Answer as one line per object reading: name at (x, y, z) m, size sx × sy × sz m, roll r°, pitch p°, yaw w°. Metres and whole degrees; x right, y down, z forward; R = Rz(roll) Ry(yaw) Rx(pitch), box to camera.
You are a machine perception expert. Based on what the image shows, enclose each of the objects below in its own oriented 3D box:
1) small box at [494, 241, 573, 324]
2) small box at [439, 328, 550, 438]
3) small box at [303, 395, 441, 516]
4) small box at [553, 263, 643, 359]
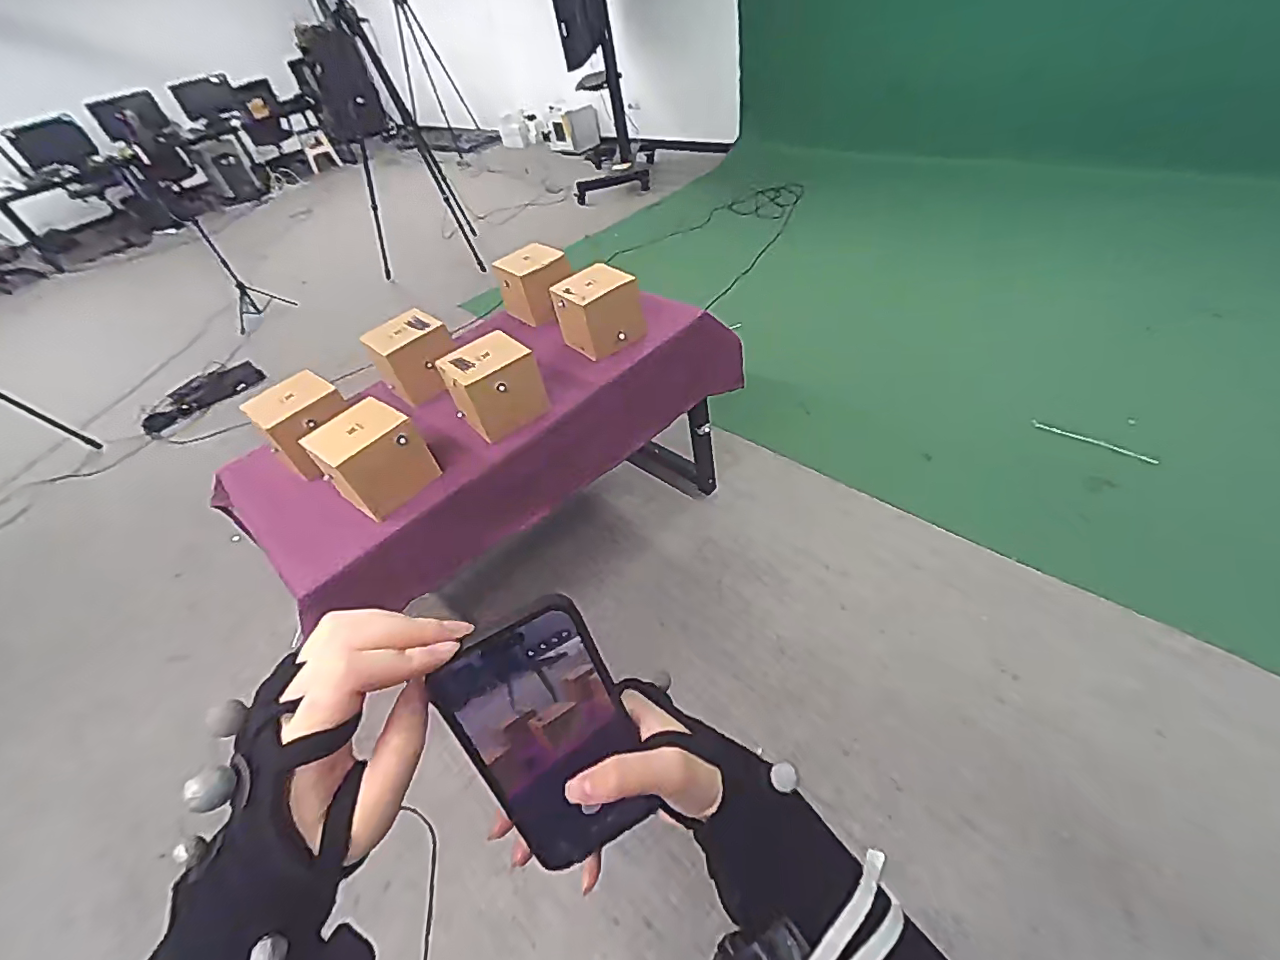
small box at (-0.313, -0.600, 1.650) m, size 0.168 × 0.176 × 0.179 m, roll -37°, pitch 50°, yaw -22°
small box at (-0.340, -0.229, 1.289) m, size 0.179 × 0.176 × 0.168 m, roll -34°, pitch 48°, yaw -22°
small box at (-0.569, -0.052, 1.167) m, size 0.168 × 0.176 × 0.179 m, roll 25°, pitch 54°, yaw 32°
small box at (-0.106, -0.458, 1.462) m, size 0.179 × 0.176 × 0.168 m, roll -34°, pitch 48°, yaw -20°
